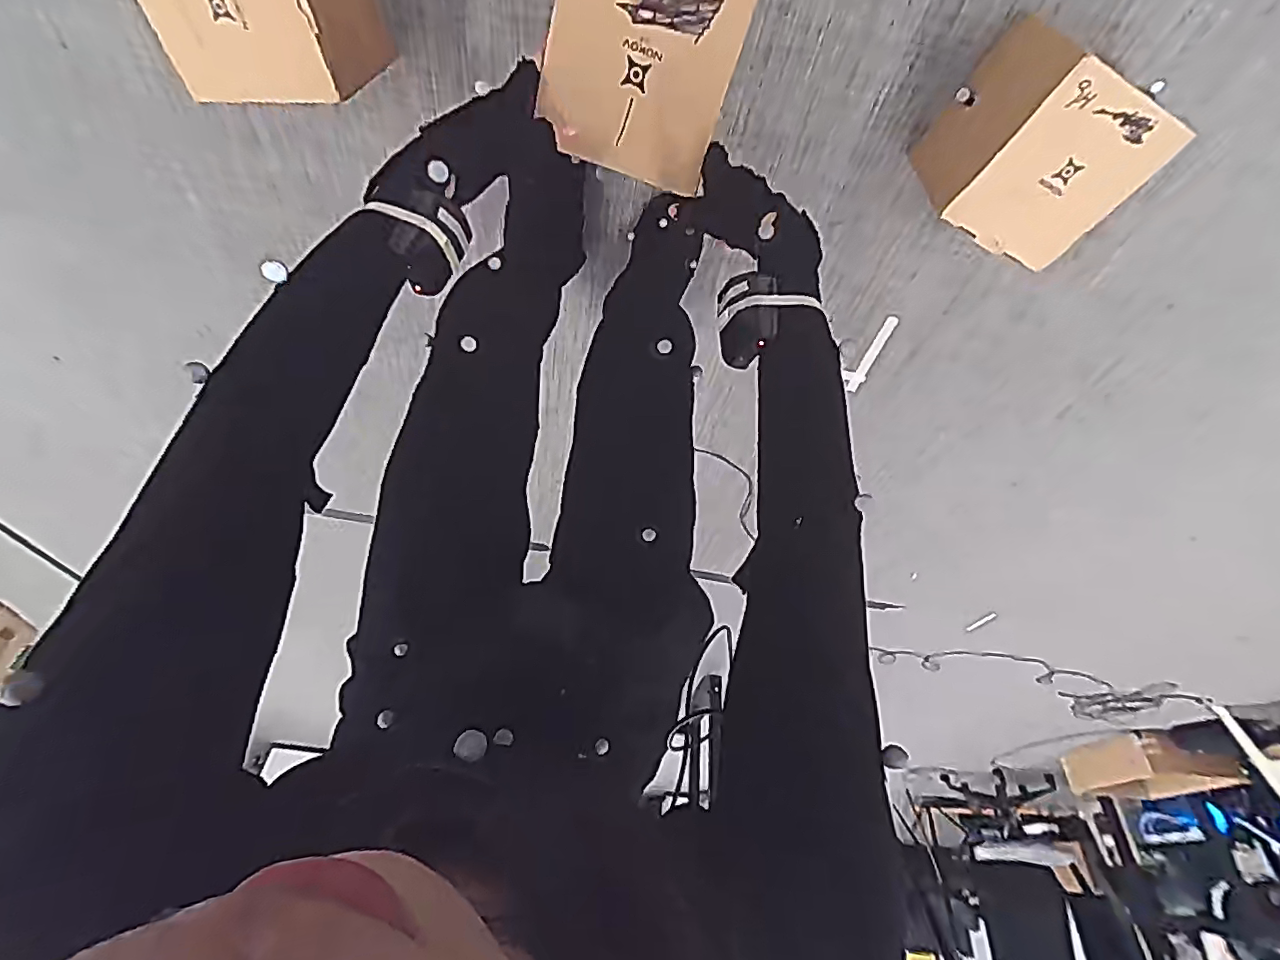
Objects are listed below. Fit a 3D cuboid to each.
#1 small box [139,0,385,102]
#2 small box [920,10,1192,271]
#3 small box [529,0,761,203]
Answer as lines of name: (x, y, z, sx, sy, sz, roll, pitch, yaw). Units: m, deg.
small box: (-0.402, -0.530, 0.581, 0.179, 0.176, 0.168, 3, 140, 5)
small box: (0.462, -0.393, 0.637, 0.168, 0.176, 0.179, 19, 141, -16)
small box: (-0.007, -0.402, 0.541, 0.168, 0.176, 0.179, 14, 118, -13)
